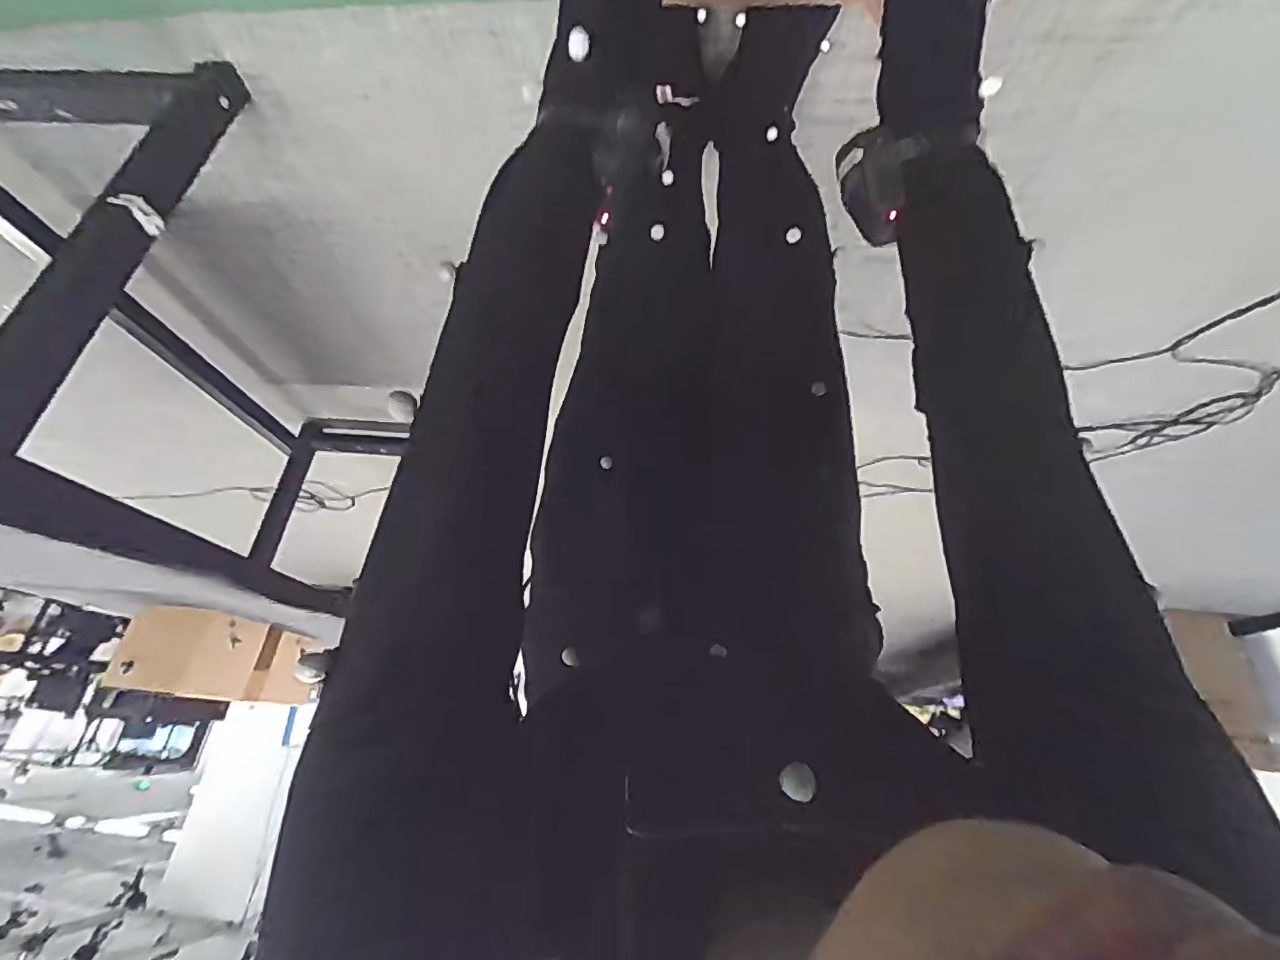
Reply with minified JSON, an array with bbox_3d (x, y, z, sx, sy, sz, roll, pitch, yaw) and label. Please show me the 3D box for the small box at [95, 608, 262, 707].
[{"bbox_3d":[-0.949,0.371,1.132,0.179,0.176,0.168,2,154,7],"label":"small box"}]
